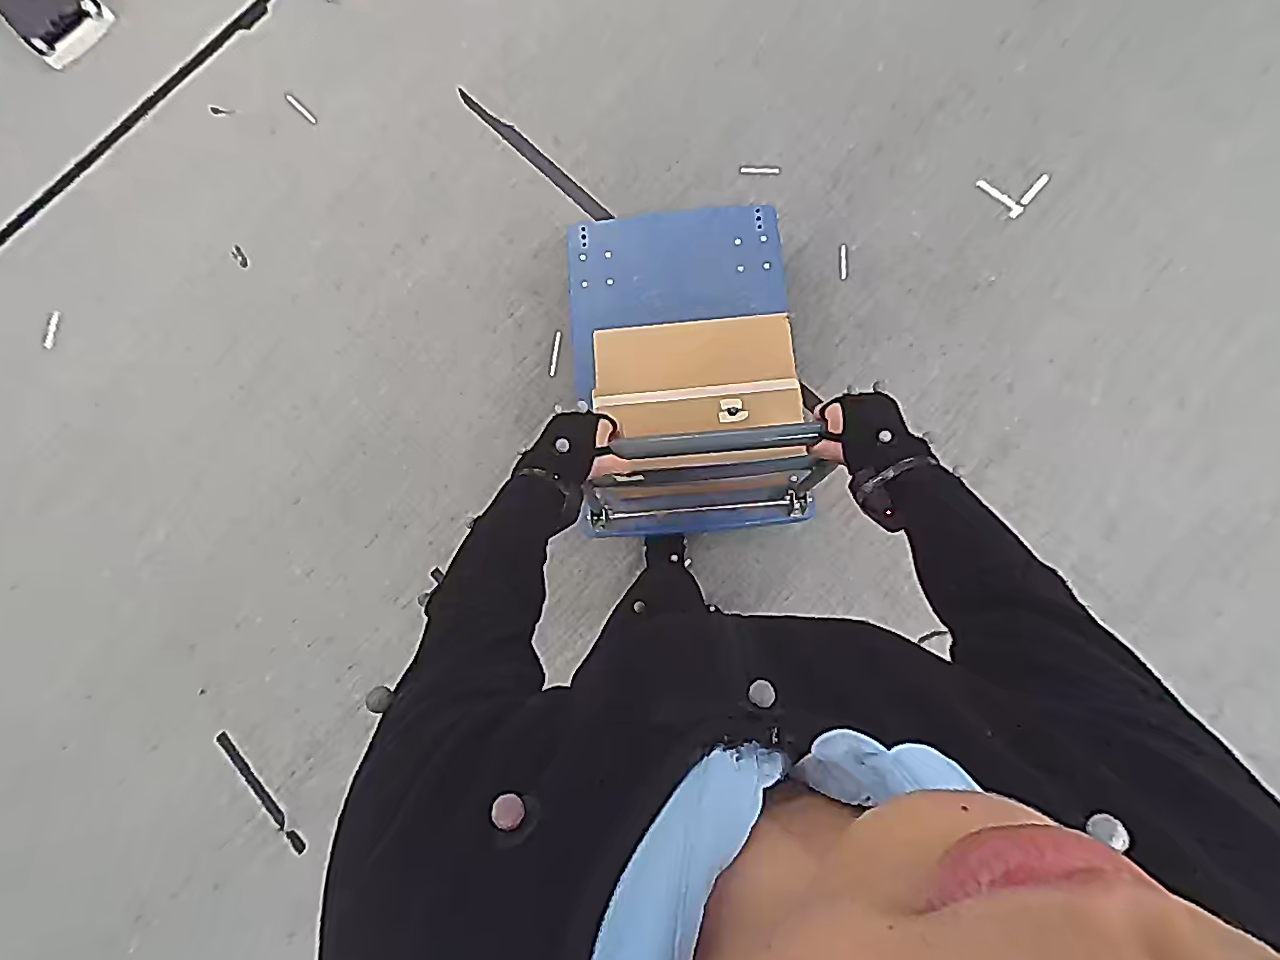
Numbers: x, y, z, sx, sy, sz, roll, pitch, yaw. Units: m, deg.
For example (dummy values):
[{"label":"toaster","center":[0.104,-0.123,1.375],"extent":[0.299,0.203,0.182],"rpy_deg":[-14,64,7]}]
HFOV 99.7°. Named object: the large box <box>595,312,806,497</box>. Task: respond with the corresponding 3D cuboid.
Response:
[{"label":"large box","center":[0.122,-0.151,1.237],"extent":[0.408,0.320,0.320],"rpy_deg":[-5,80,1]}]
